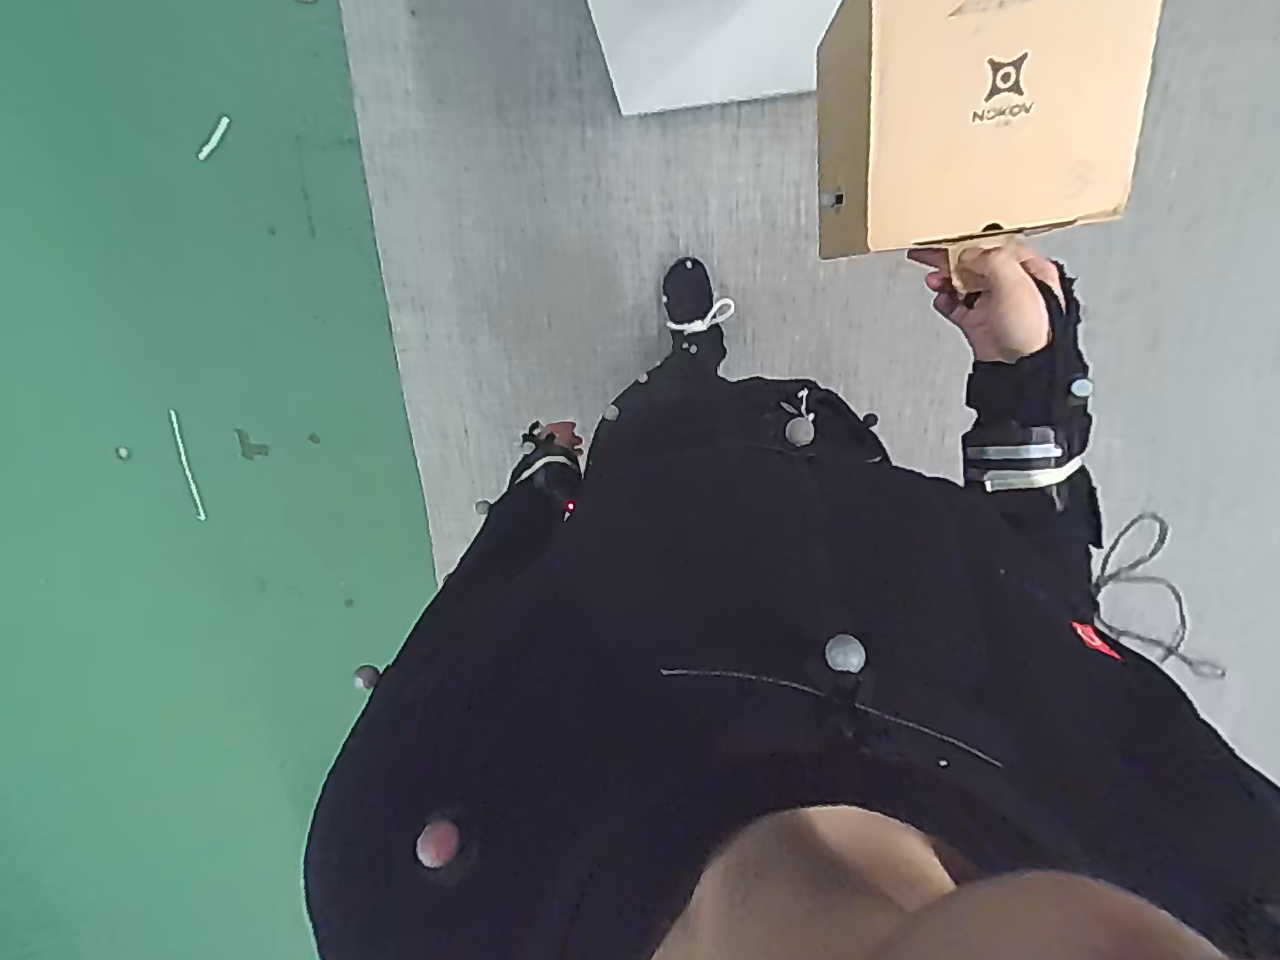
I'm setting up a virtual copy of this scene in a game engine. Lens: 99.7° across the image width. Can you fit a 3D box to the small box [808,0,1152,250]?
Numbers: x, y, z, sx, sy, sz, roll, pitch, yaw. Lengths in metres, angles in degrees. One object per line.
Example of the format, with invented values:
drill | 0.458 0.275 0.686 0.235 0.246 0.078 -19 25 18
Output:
small box | 0.229 -0.279 0.410 0.168 0.176 0.179 -7 109 8
